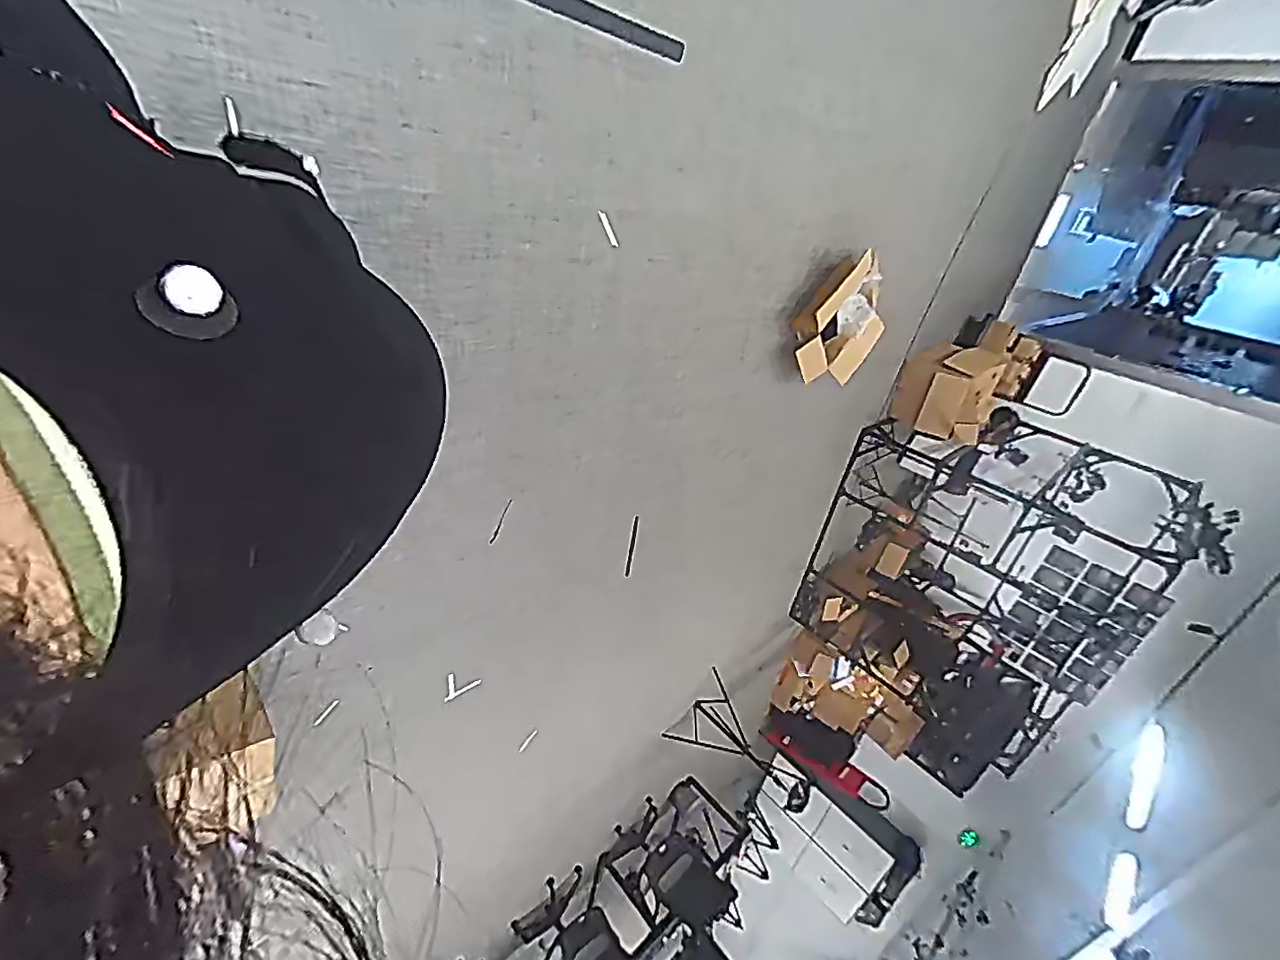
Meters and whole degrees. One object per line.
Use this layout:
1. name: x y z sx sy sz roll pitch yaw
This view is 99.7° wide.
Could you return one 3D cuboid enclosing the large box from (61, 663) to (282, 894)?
1. large box: -1.256 0.778 1.476 0.408 0.320 0.320 -11 124 -46
